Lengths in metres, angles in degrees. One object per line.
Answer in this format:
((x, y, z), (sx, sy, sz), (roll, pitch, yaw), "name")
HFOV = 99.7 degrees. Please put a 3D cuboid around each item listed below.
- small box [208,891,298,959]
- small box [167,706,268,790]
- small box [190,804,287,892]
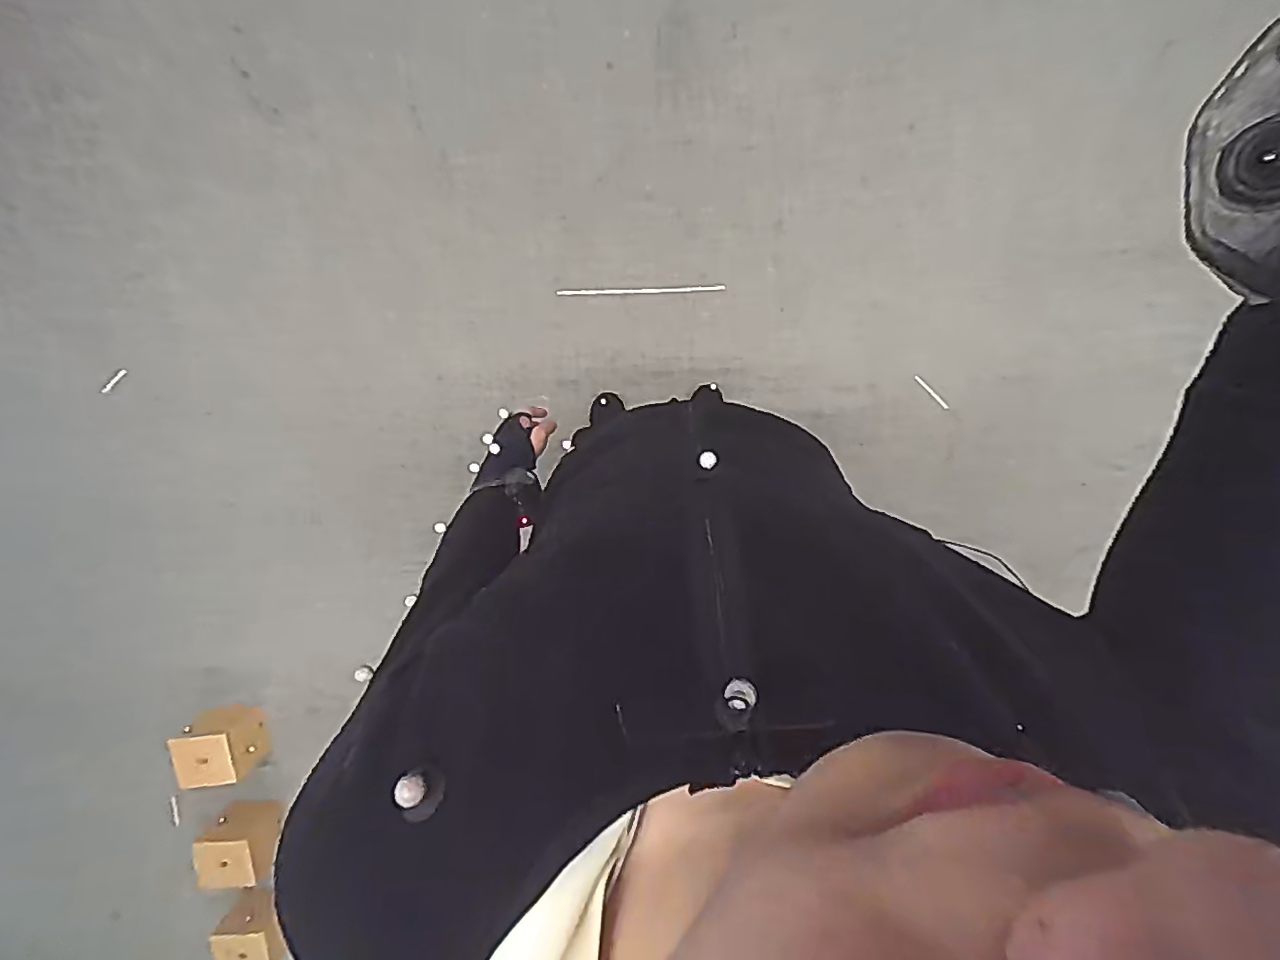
((-1.255, 1.490, 1.771), (0.179, 0.176, 0.168), (-3, 98, 1), "small box")
((-1.289, 0.821, 1.670), (0.179, 0.176, 0.168), (-6, 99, 1), "small box")
((-1.272, 1.166, 1.723), (0.179, 0.176, 0.168), (-3, 99, 0), "small box")
